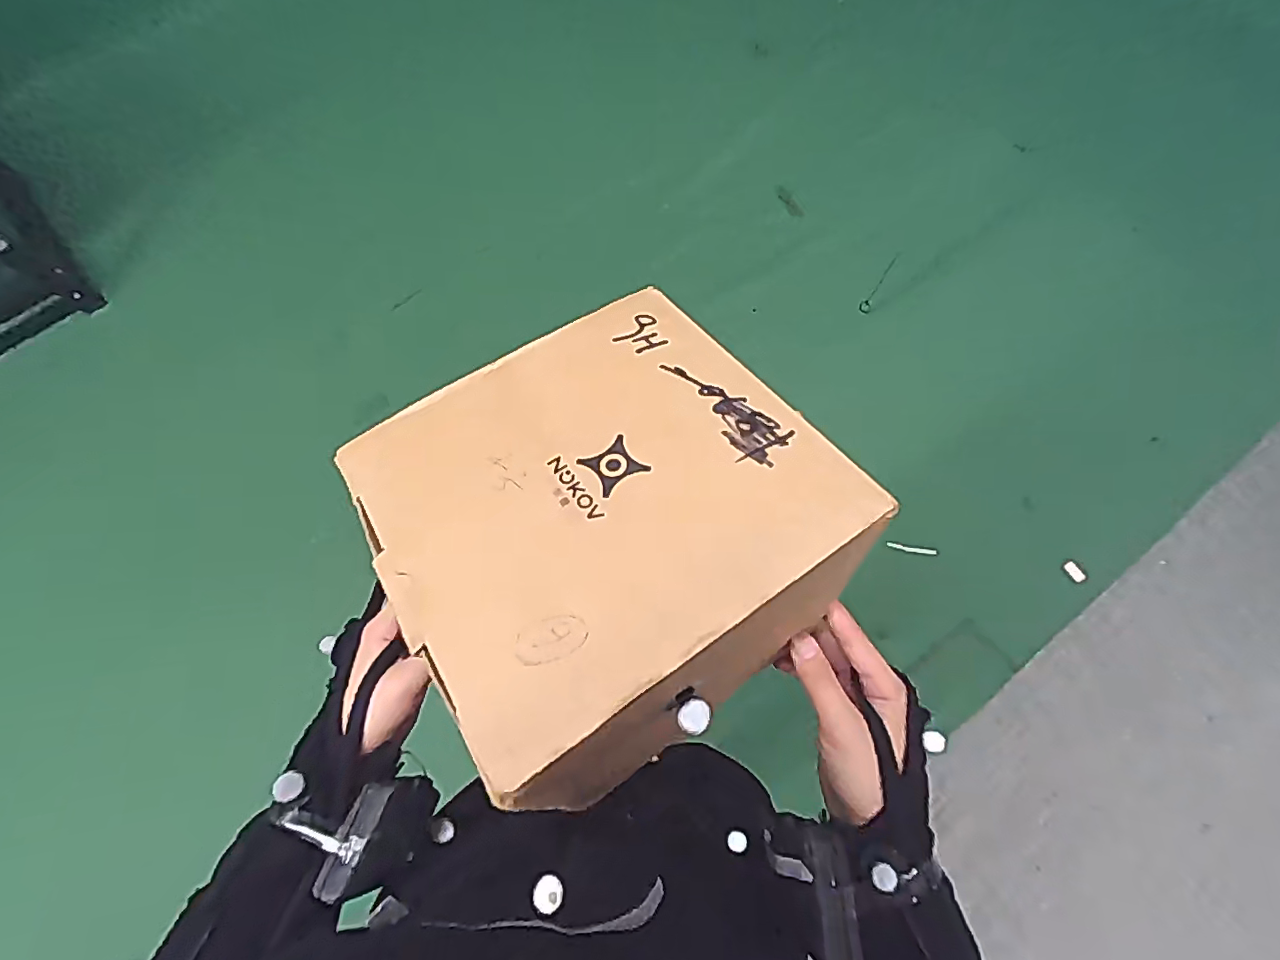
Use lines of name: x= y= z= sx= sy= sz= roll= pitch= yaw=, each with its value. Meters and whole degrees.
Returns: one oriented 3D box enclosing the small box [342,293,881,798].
small box: x=-0.013 y=0.043 z=0.290 sx=0.179 sy=0.176 sz=0.168 roll=-31 pitch=60 yaw=-14
